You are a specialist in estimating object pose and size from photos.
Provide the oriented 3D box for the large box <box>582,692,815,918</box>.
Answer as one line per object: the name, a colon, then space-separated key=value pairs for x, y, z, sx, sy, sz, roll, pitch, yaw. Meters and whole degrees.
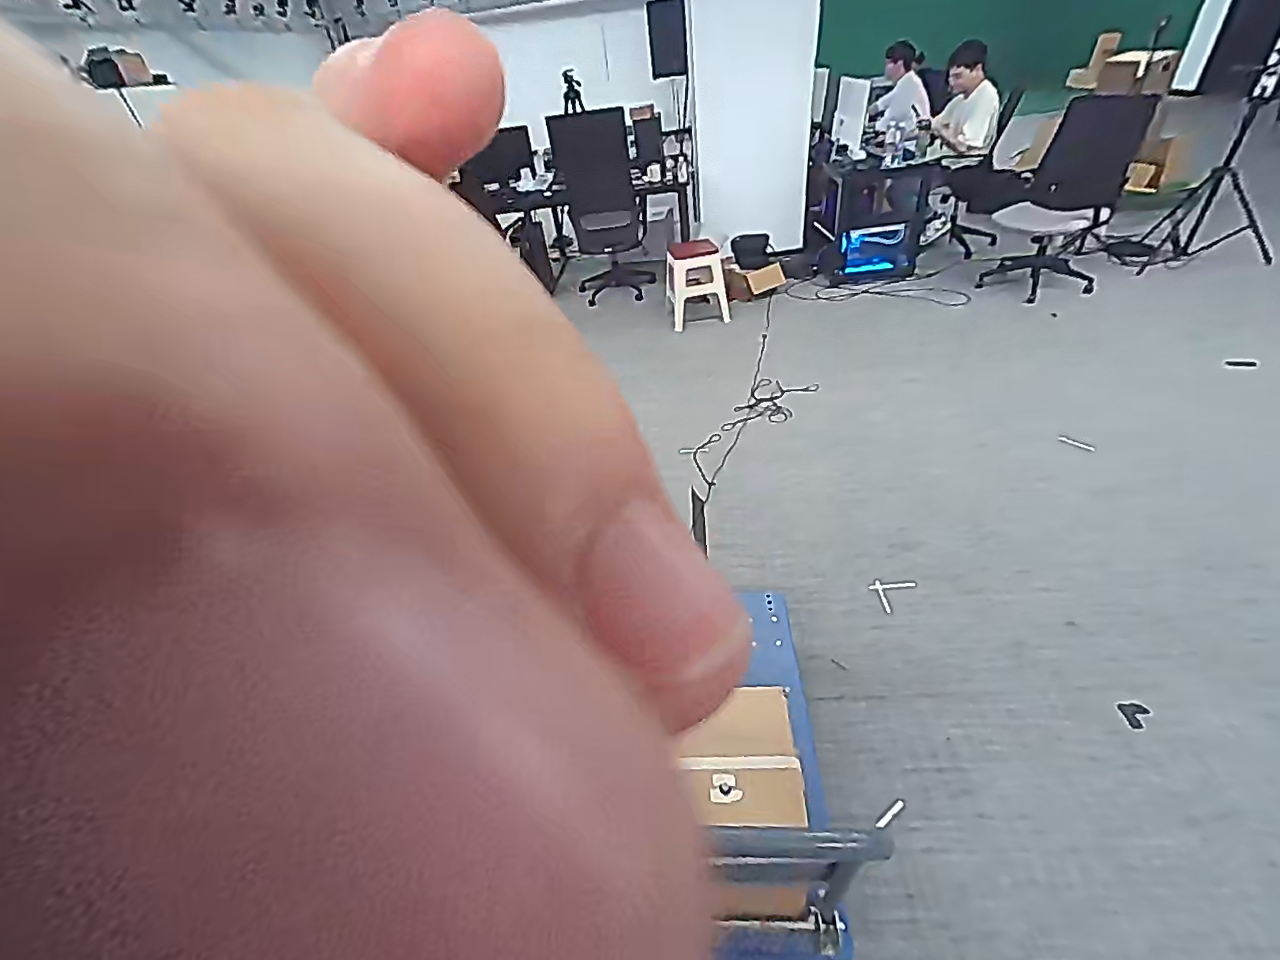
large box: x=0.113 y=0.666 z=1.113 sx=0.408 sy=0.320 sz=0.320 roll=-4 pitch=39 yaw=6
